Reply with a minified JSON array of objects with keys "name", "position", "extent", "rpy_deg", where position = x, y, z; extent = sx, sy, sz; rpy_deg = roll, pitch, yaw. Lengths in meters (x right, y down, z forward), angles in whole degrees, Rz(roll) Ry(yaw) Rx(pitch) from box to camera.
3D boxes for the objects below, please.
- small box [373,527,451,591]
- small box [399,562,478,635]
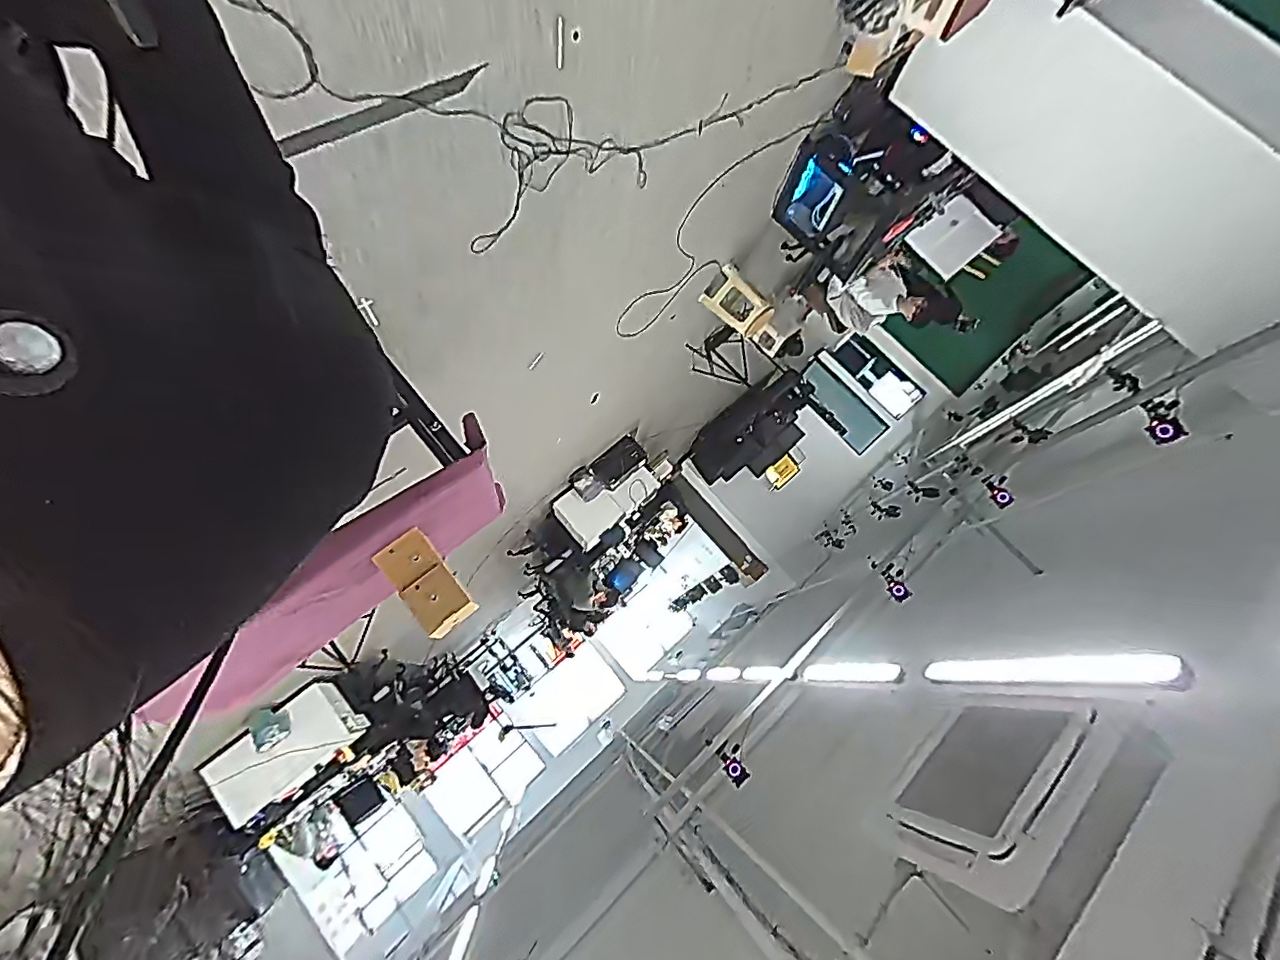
[{"name":"small box","position":[-0.782,0.282,1.857],"extent":[0.168,0.176,0.179],"rpy_deg":[-39,170,-19]},{"name":"small box","position":[-0.671,0.395,1.806],"extent":[0.168,0.176,0.179],"rpy_deg":[-39,170,-17]}]
